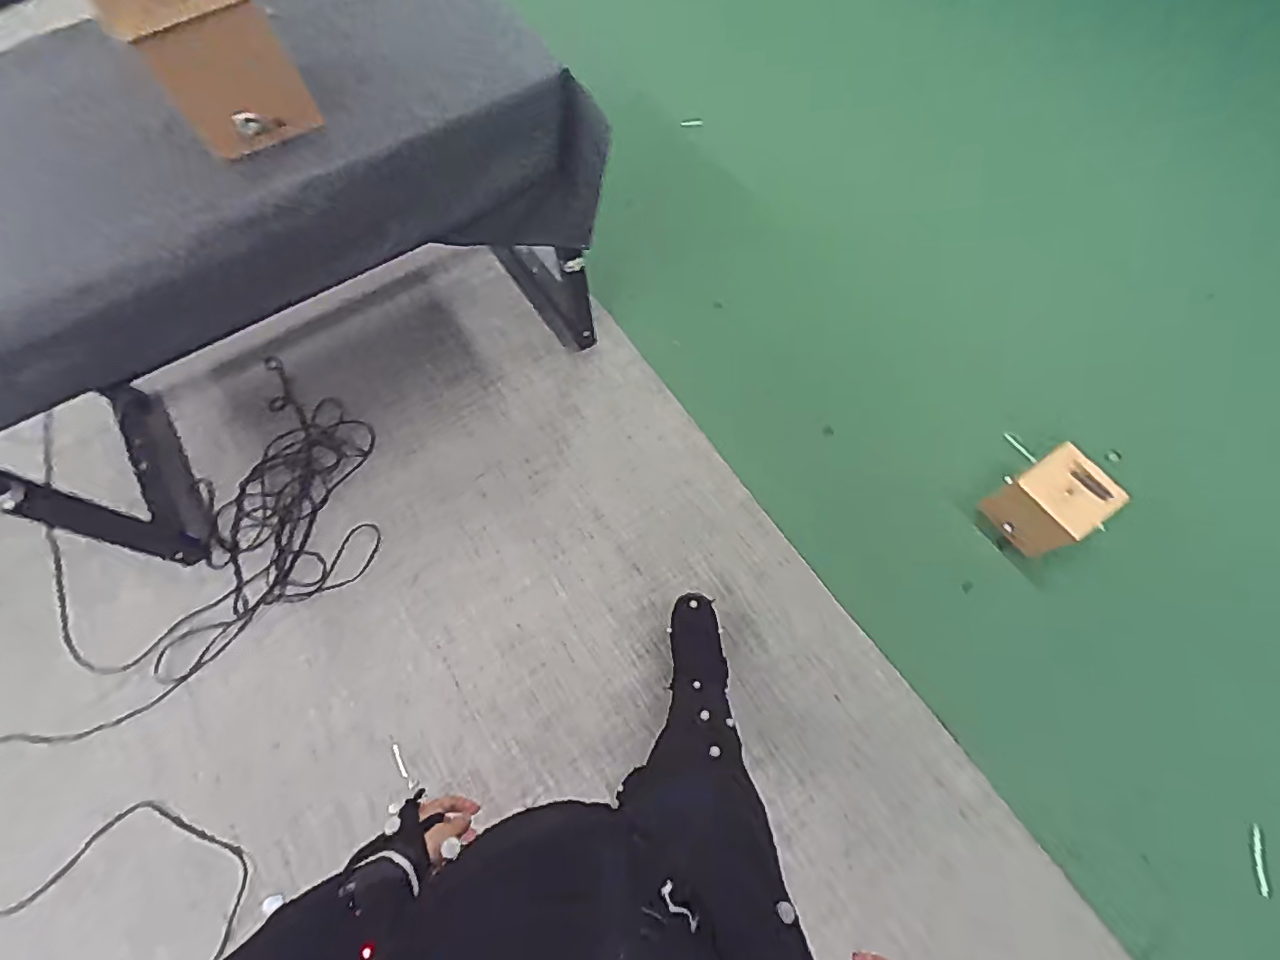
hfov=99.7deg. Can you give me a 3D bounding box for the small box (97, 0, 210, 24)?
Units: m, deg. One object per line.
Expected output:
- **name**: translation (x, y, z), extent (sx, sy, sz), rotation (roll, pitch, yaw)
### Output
- **small box**: translation (-0.594, -0.662, 0.607), extent (0.168, 0.176, 0.179), rotation (-33, 70, -10)

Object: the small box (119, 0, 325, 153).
- **small box**: translation (-0.590, -0.609, 0.761), extent (0.168, 0.176, 0.179), rotation (-32, 71, -10)
